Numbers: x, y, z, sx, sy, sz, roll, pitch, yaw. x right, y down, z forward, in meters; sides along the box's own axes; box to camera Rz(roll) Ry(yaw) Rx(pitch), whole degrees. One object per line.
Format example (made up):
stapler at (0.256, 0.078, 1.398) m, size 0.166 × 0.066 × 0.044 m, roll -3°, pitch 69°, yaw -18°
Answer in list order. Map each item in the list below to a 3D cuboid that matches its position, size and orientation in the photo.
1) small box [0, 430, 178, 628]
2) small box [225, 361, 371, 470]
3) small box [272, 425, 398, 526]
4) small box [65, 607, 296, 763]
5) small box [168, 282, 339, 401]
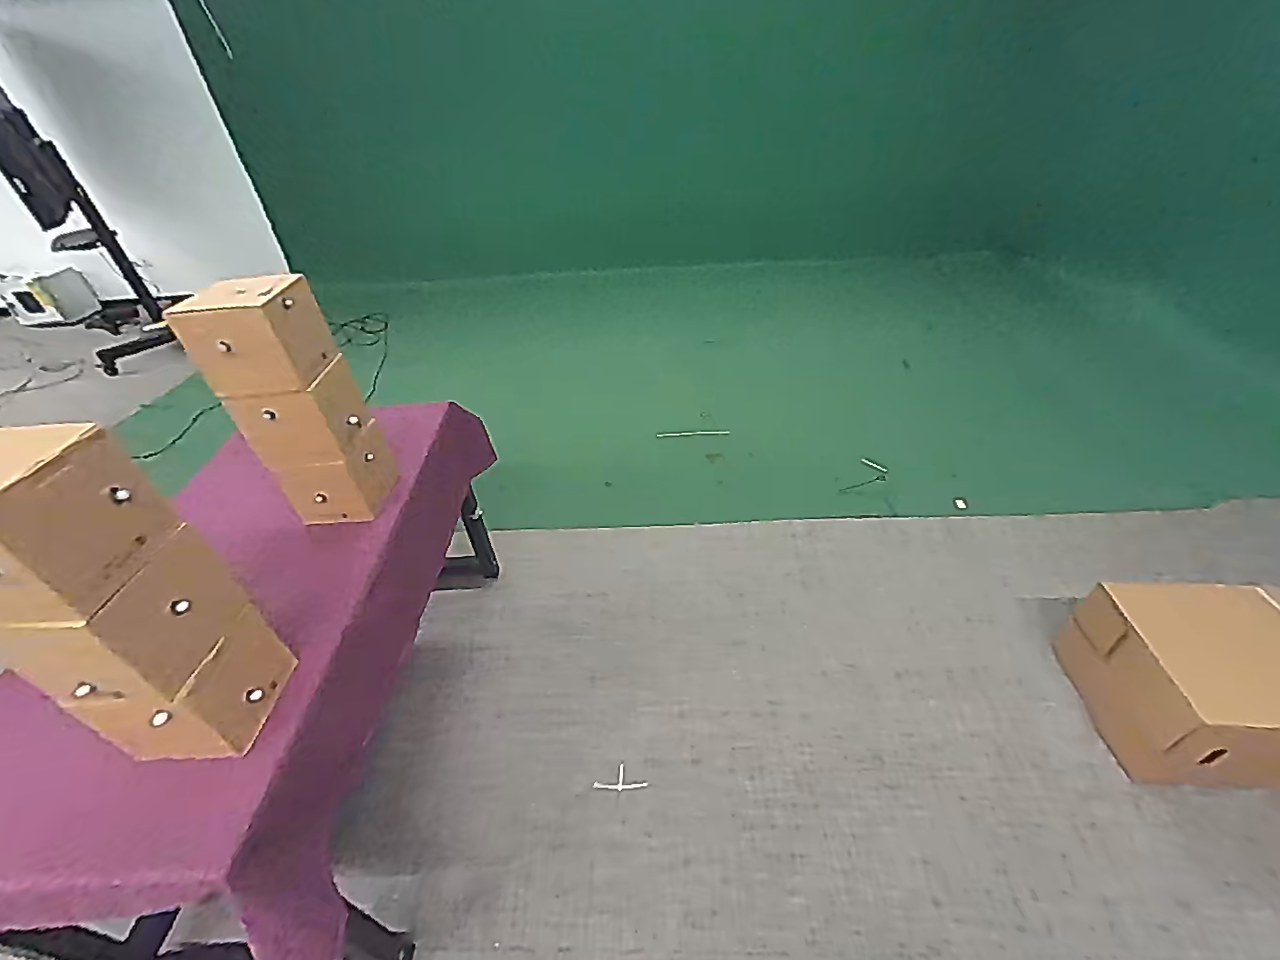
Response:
small box at (-0.717, 0.059, 0.637) m, size 0.179 × 0.176 × 0.168 m, roll -3°, pitch 37°, yaw 4°
small box at (-0.708, -0.134, 1.143) m, size 0.179 × 0.176 × 0.168 m, roll -5°, pitch 39°, yaw 0°
small box at (-0.686, -0.006, 1.245) m, size 0.168 × 0.176 × 0.179 m, roll -3°, pitch 38°, yaw 3°
small box at (-0.687, 0.318, 0.836) m, size 0.179 × 0.176 × 0.168 m, roll -3°, pitch 38°, yaw 2°
small box at (-0.729, -0.264, 1.044) m, size 0.179 × 0.176 × 0.168 m, roll -6°, pitch 39°, yaw 2°
